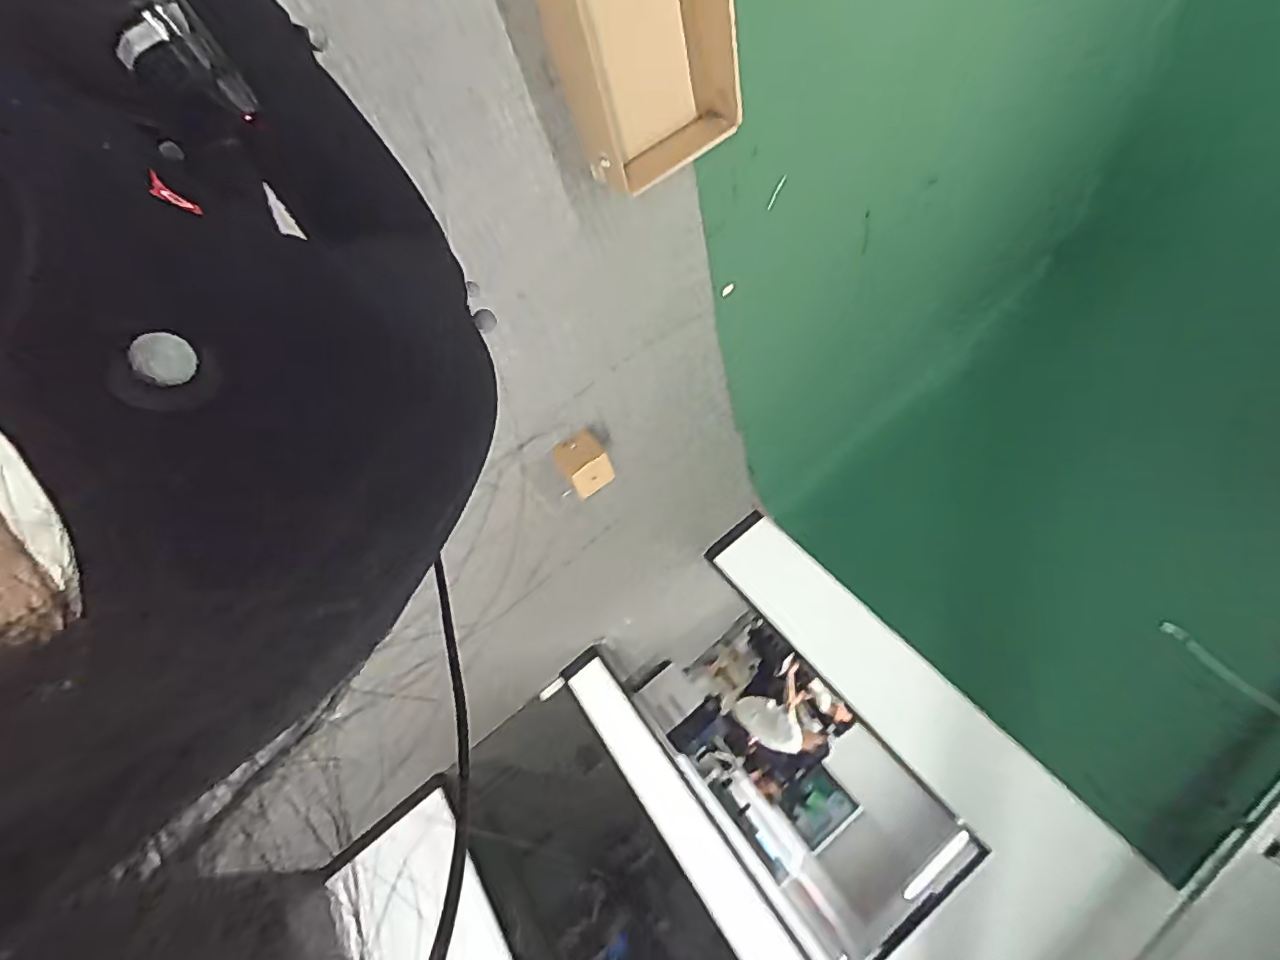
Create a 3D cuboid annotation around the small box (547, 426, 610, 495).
[{"bbox_3d":[-0.246,-0.081,2.165,0.168,0.176,0.179,-35,146,-13],"label":"small box"}]
